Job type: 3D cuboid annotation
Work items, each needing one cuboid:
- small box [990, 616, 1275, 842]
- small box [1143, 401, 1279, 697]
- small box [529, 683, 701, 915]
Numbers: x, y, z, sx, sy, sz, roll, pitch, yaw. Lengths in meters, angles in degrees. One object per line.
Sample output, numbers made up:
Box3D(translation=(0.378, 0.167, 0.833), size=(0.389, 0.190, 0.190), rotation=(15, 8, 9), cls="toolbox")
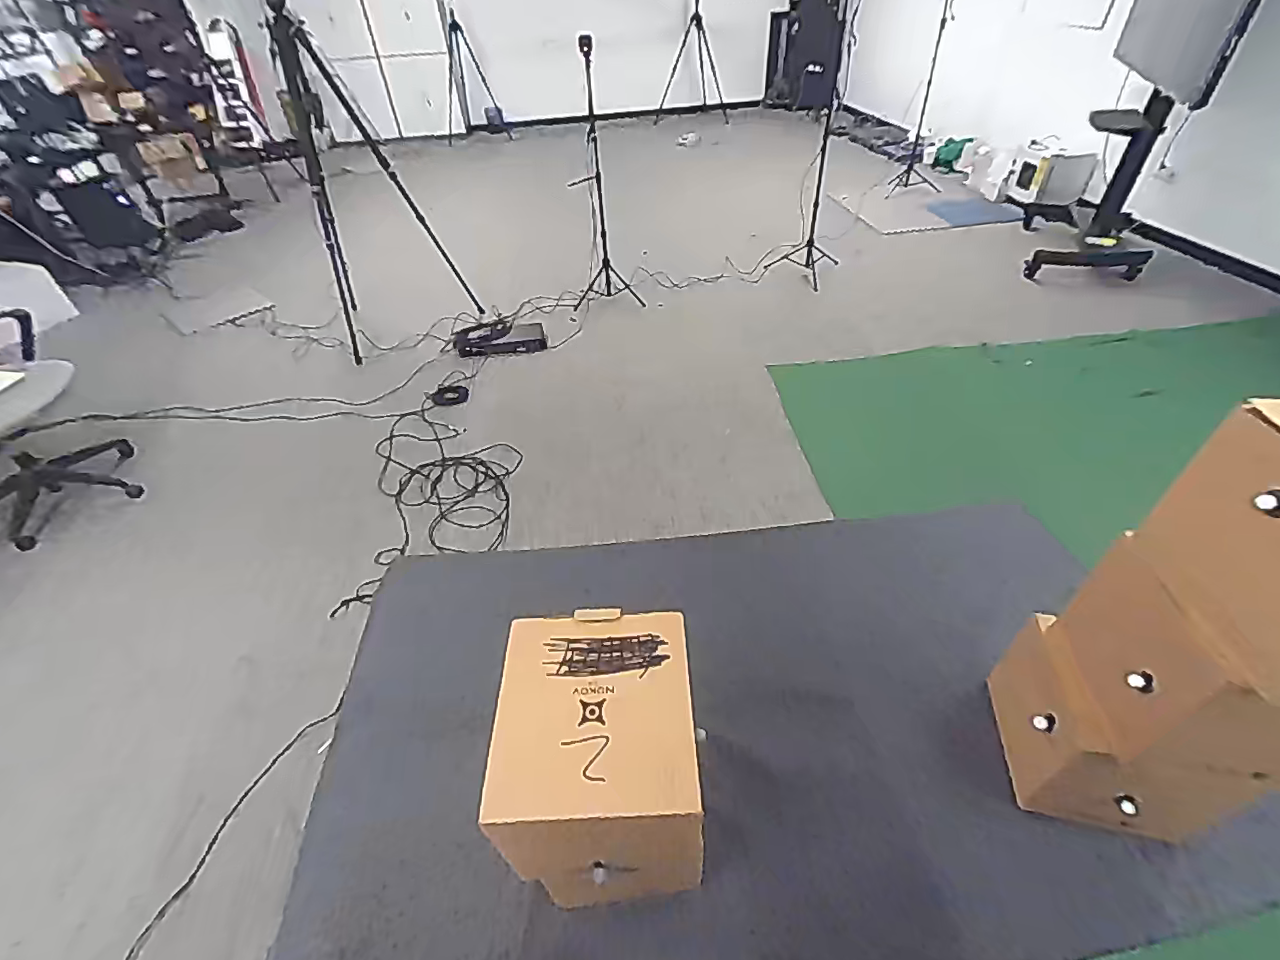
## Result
Box3D(translation=(0.548, 0.292, 0.639), size=(0.168, 0.176, 0.179), rotation=(7, 41, 12), cls="small box")
Box3D(translation=(0.556, 0.056, 0.412), size=(0.168, 0.176, 0.179), rotation=(-1, 42, 4), cls="small box")
Box3D(translation=(-0.028, 0.364, 0.621), size=(0.168, 0.176, 0.179), rotation=(-8, 42, -3), cls="small box")
